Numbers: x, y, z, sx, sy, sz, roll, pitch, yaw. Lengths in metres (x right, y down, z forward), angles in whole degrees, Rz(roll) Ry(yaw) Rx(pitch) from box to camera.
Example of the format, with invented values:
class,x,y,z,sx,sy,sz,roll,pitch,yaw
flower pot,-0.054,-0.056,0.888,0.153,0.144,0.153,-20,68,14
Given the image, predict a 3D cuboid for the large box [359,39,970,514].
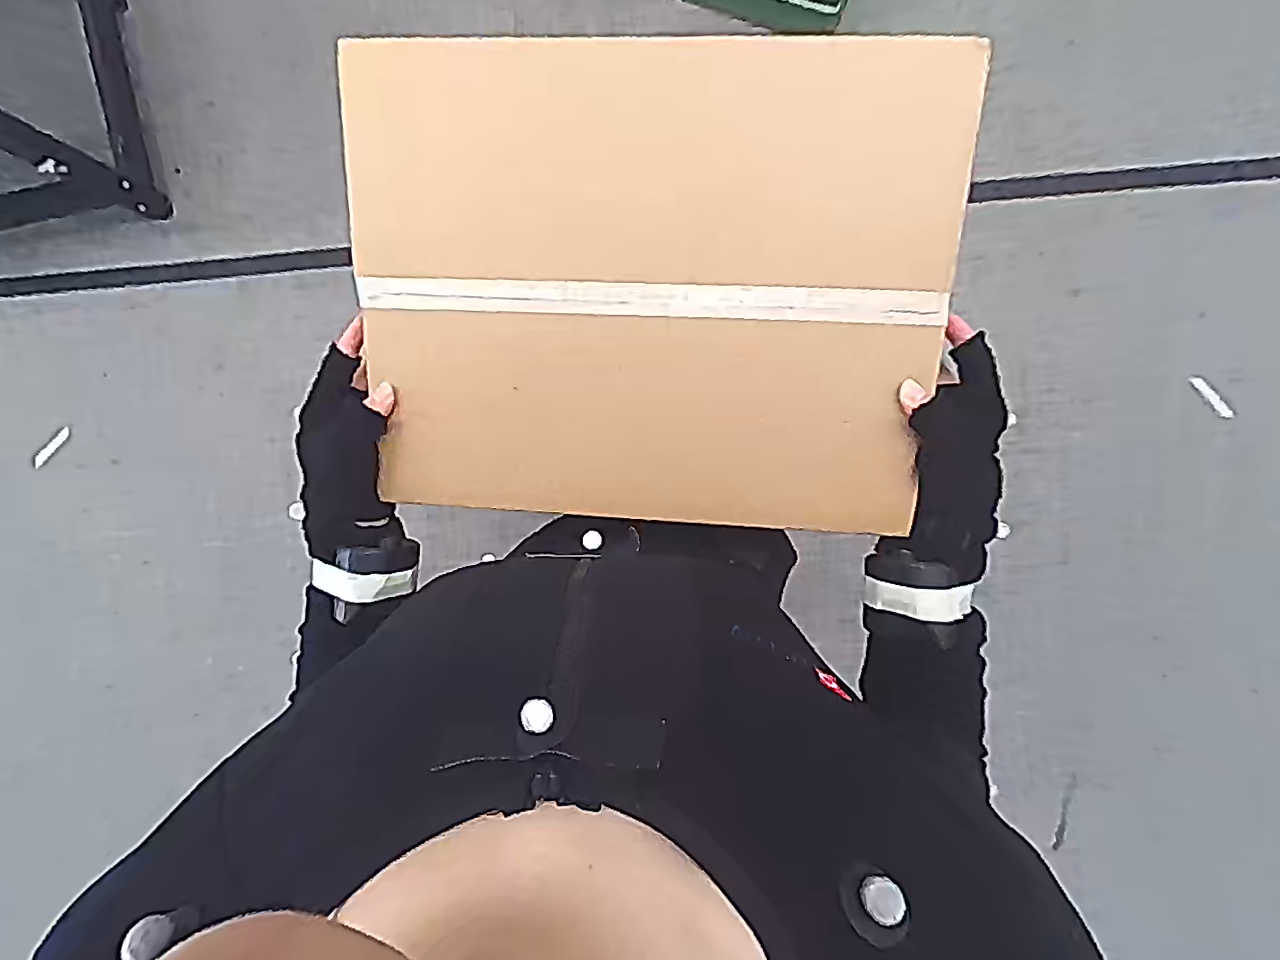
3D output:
class,x,y,z,sx,sy,sz,roll,pitch,yaw
large box,0.015,-0.166,0.526,0.408,0.320,0.320,3,105,5
